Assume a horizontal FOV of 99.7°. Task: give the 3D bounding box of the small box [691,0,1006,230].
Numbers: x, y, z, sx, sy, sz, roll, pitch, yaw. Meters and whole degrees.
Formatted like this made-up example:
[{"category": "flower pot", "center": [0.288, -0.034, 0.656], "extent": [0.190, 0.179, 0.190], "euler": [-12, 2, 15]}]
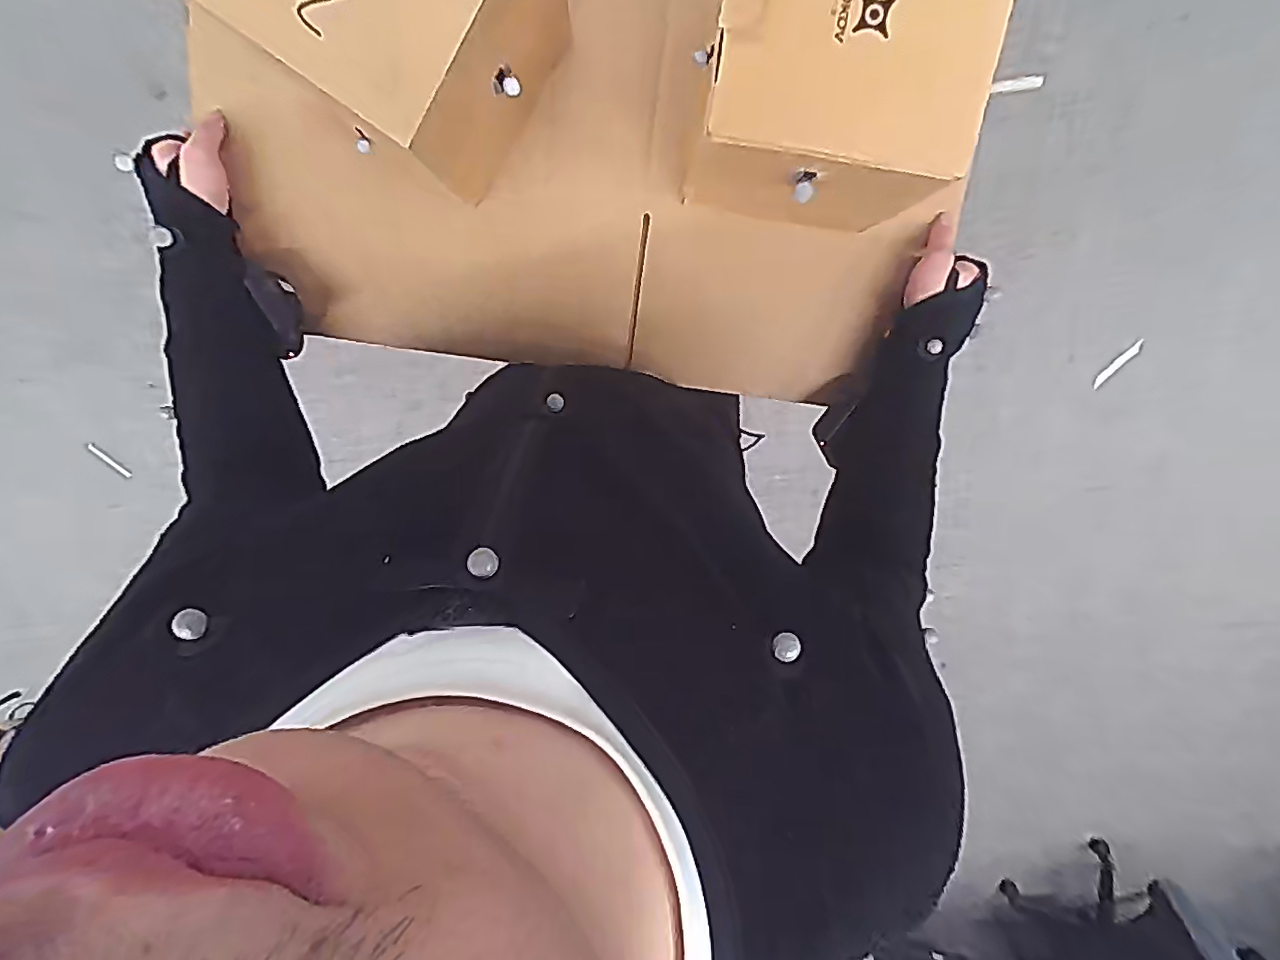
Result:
[{"category": "small box", "center": [0.145, -0.311, 0.428], "extent": [0.179, 0.176, 0.168], "euler": [9, 103, -2]}]
